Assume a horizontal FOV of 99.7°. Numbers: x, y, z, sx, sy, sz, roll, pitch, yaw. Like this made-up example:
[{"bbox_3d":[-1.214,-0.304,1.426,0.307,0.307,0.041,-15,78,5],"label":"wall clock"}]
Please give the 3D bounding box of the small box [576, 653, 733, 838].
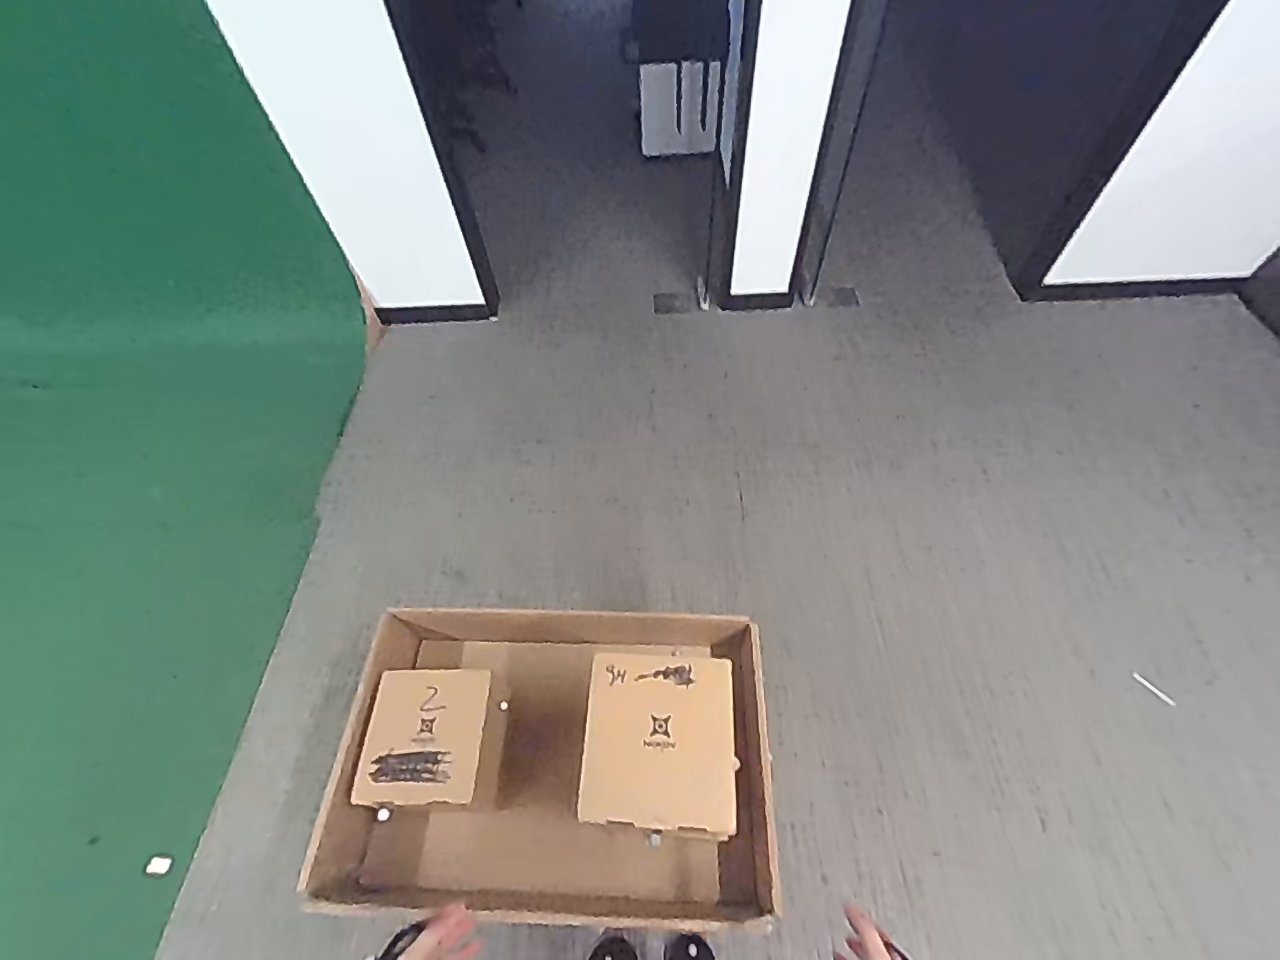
[{"bbox_3d":[0.025,0.327,0.663,0.168,0.176,0.179,2,56,4],"label":"small box"}]
